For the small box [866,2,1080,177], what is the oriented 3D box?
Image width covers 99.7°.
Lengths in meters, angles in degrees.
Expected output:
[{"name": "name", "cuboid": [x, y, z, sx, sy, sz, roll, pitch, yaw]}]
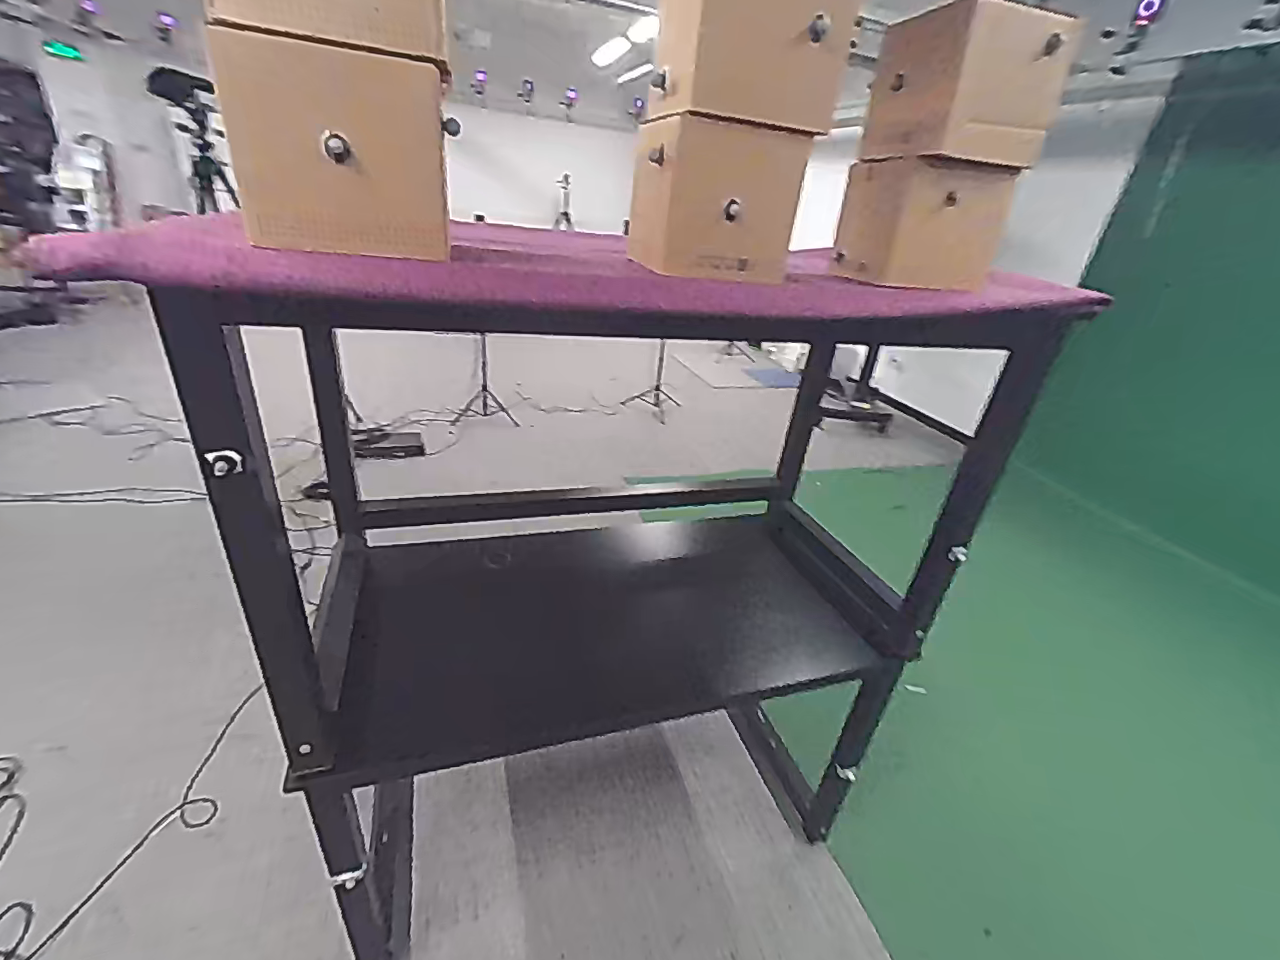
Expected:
[{"name": "small box", "cuboid": [0.443, -0.519, 0.754, 0.179, 0.176, 0.168, -3, 28, -17]}]

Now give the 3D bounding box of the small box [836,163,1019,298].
[{"name": "small box", "cuboid": [0.427, -0.381, 0.840, 0.179, 0.176, 0.168, -1, 27, -13]}]

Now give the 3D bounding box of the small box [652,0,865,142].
[{"name": "small box", "cuboid": [0.123, -0.486, 0.621, 0.179, 0.176, 0.168, -3, 28, -16]}]

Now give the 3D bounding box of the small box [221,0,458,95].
[{"name": "small box", "cuboid": [-0.260, -0.462, 0.478, 0.179, 0.176, 0.168, -3, 30, -17]}]

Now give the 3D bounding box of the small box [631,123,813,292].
[{"name": "small box", "cuboid": [0.092, -0.348, 0.703, 0.168, 0.176, 0.179, -1, 29, -17]}]
